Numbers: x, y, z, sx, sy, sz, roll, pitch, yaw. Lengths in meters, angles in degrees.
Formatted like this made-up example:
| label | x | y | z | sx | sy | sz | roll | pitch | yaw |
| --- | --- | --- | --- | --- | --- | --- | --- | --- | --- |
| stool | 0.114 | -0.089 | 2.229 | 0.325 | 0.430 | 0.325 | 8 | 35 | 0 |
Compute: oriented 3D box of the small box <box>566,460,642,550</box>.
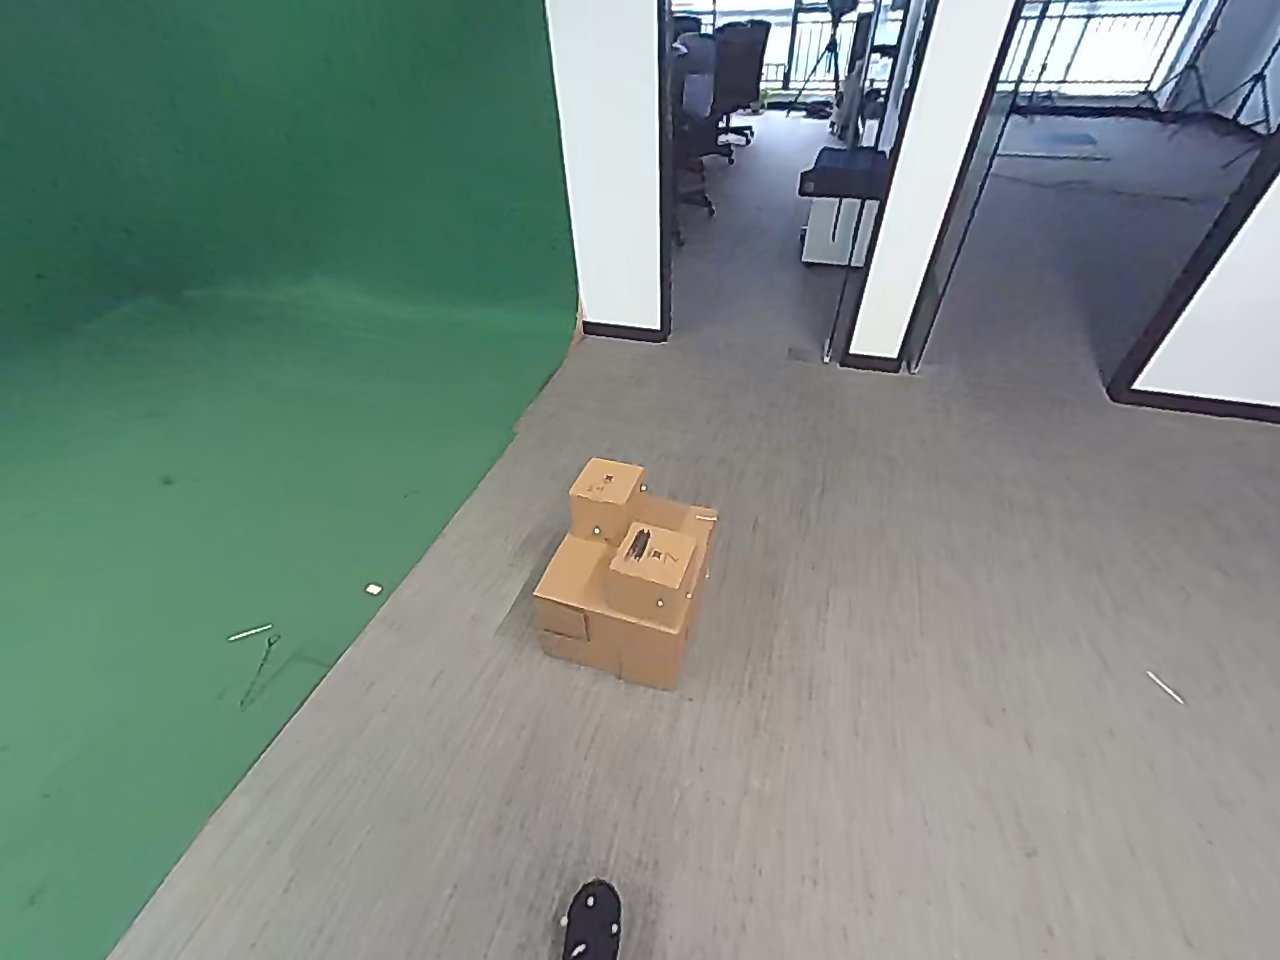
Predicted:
| label | x | y | z | sx | sy | sz | roll | pitch | yaw |
| --- | --- | --- | --- | --- | --- | --- | --- | --- | --- |
| small box | -0.099 | 0.071 | 1.565 | 0.168 | 0.176 | 0.179 | 11 | 41 | 15 |
